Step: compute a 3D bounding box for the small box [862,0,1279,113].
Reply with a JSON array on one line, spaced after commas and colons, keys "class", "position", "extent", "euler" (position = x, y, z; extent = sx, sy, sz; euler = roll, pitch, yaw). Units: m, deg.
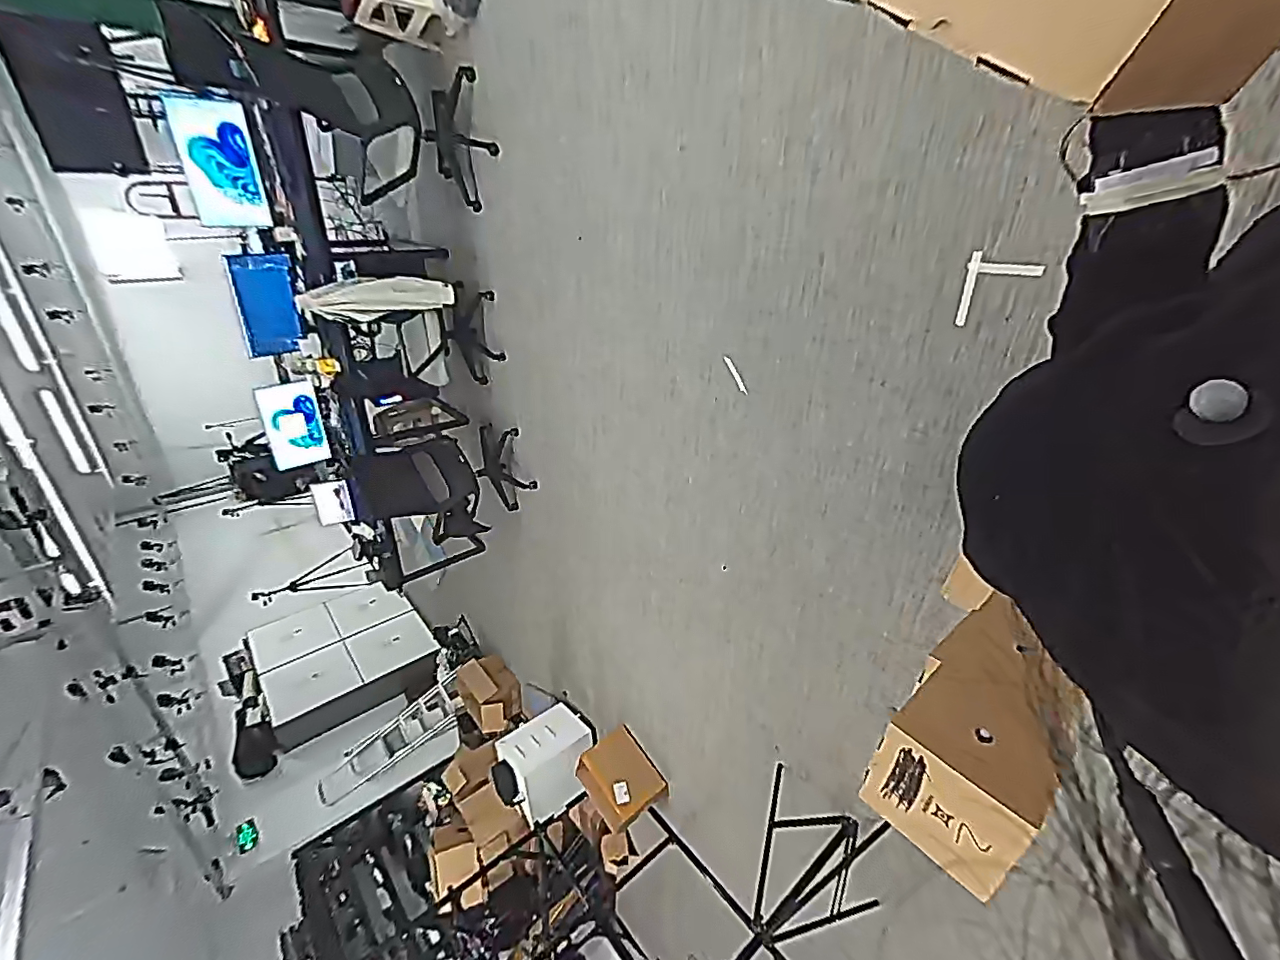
[{"class": "small box", "position": [0.228, -0.293, 0.231], "extent": [0.168, 0.176, 0.179], "euler": [55, 152, 26]}]

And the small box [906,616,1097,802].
[{"class": "small box", "position": [0.553, 0.336, 0.835], "extent": [0.179, 0.176, 0.168], "euler": [29, 129, 43]}]

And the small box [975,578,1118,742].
[{"class": "small box", "position": [0.682, 0.294, 0.927], "extent": [0.168, 0.176, 0.179], "euler": [22, 124, 46]}]
